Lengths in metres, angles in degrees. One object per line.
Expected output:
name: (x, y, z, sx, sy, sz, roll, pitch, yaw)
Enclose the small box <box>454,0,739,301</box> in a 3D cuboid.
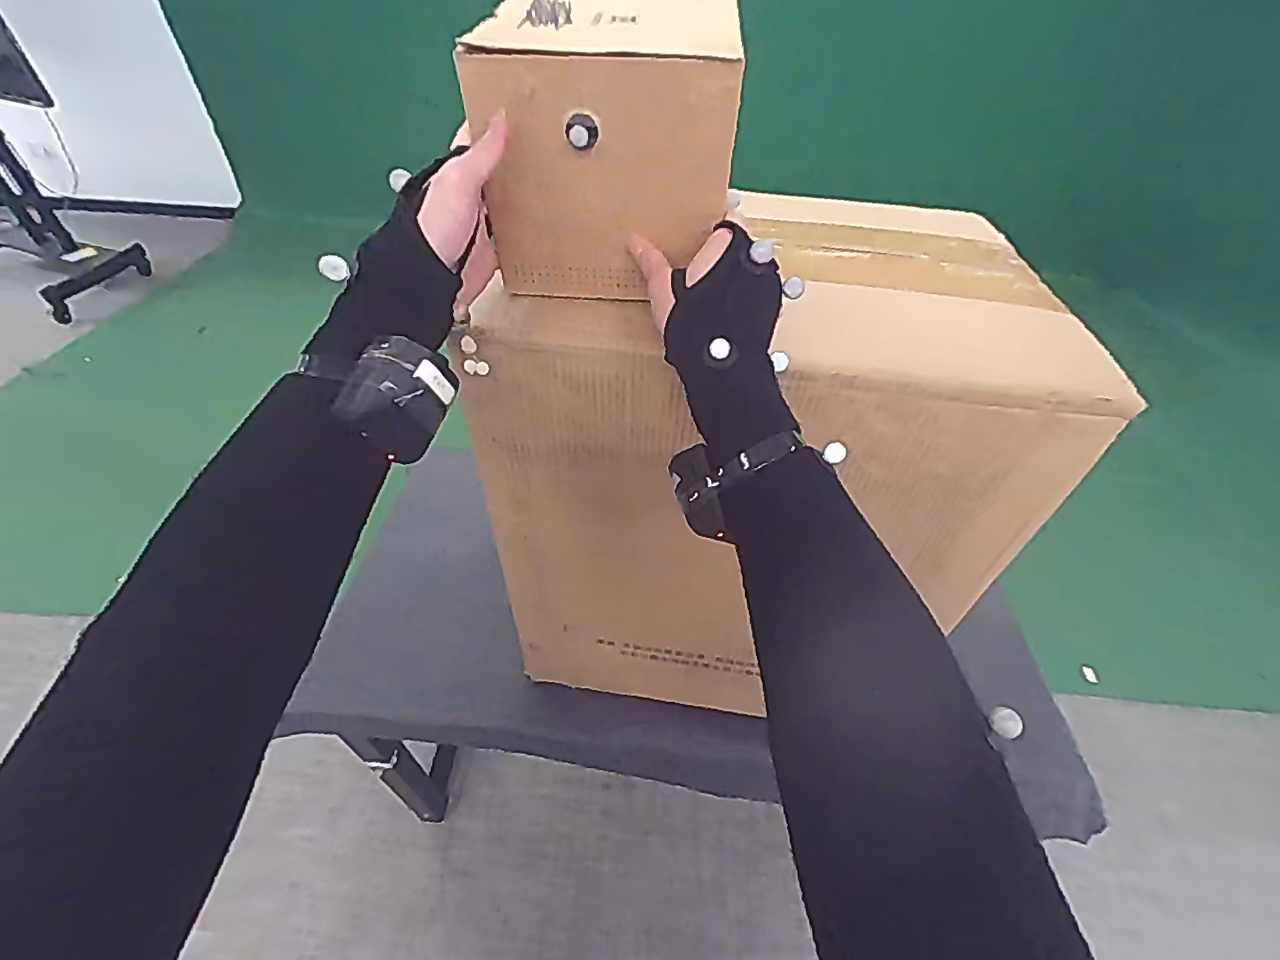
small box: (-0.020, -0.266, 0.443, 0.179, 0.176, 0.168, 7, 53, 6)
